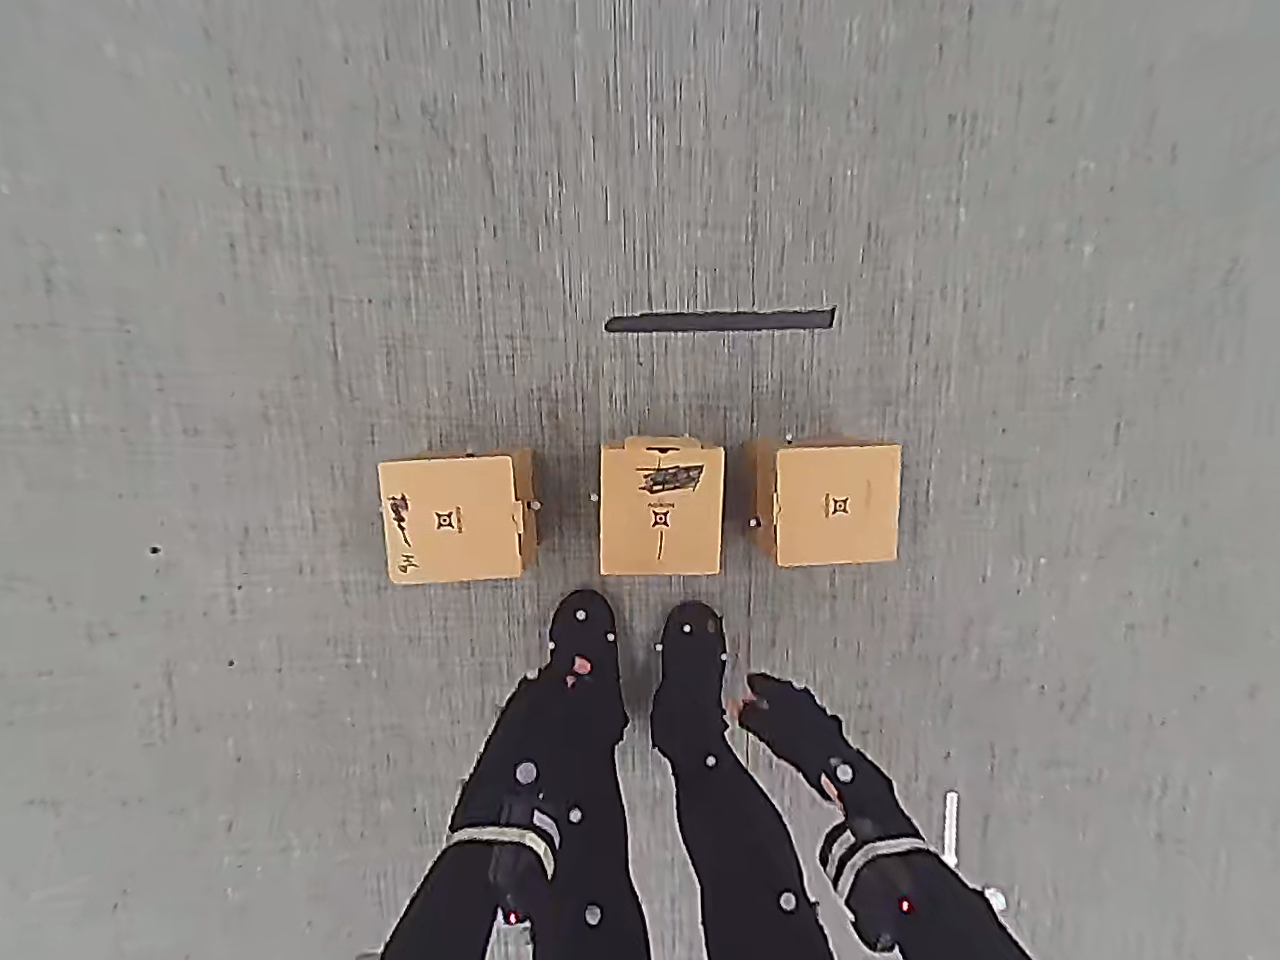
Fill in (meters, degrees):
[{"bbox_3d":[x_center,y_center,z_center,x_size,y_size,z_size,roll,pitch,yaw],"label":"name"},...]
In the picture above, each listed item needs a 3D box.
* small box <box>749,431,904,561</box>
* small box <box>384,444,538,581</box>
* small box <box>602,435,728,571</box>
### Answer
[{"bbox_3d":[0.266,0.016,0.813,0.179,0.176,0.168,-3,100,-4],"label":"small box"},{"bbox_3d":[-0.245,0.038,0.787,0.179,0.176,0.168,-3,99,-3],"label":"small box"},{"bbox_3d":[0.028,0.026,0.799,0.168,0.176,0.179,1,99,-3],"label":"small box"}]
